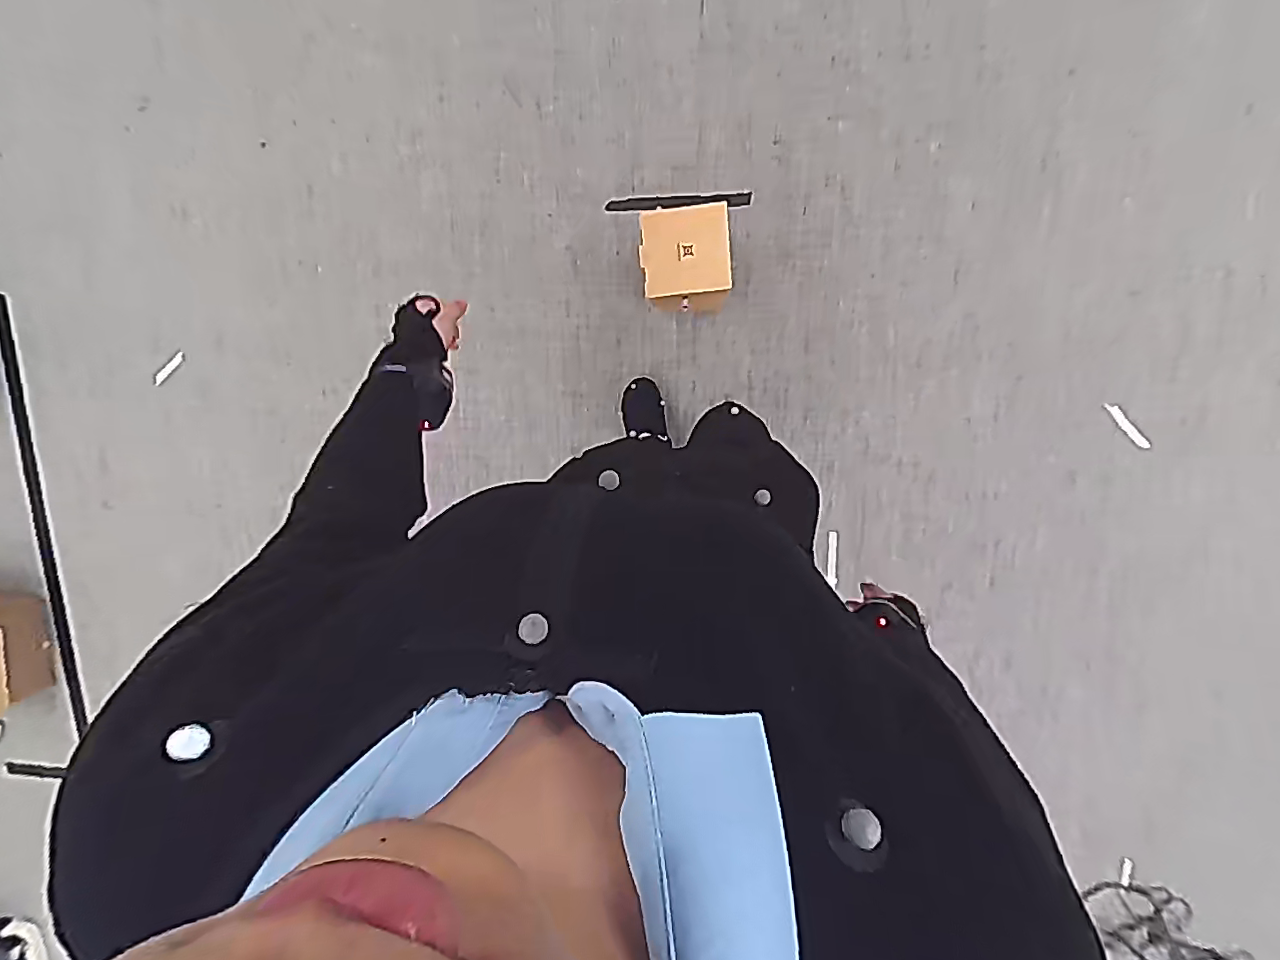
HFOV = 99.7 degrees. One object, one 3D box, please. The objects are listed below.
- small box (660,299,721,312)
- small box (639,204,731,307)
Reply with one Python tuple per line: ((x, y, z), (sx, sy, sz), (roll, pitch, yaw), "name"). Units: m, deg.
((0.119, -0.507, 1.308), (0.168, 0.176, 0.179), (4, 100, 5), "small box")
((0.097, -0.469, 1.151), (0.179, 0.176, 0.168), (-4, 100, 7), "small box")
